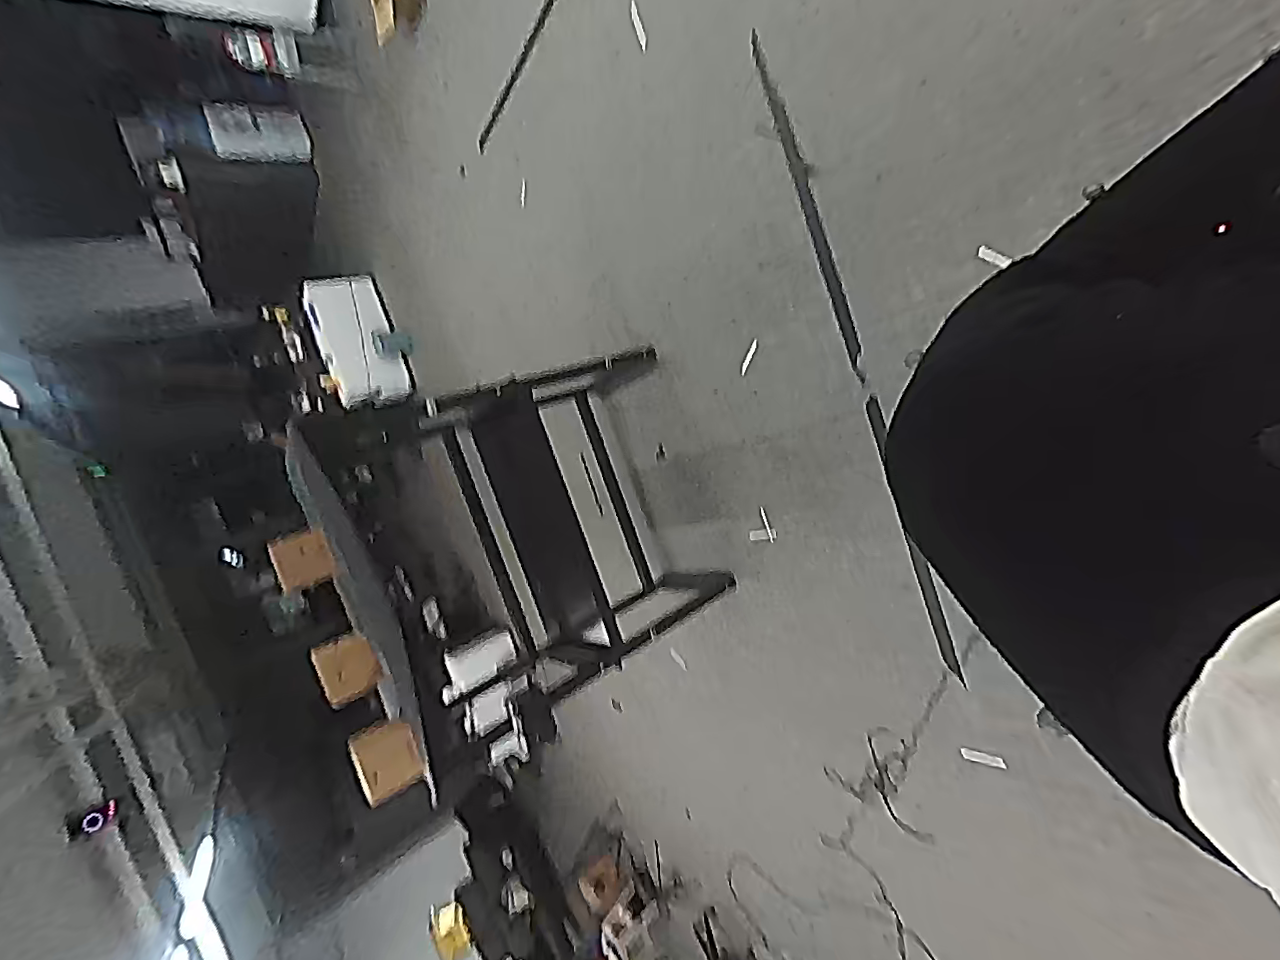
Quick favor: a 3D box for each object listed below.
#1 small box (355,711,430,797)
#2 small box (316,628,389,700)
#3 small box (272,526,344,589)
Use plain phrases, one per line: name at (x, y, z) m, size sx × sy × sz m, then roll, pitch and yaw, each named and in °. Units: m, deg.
small box at (-0.796, 0.872, 1.742) m, size 0.179 × 0.176 × 0.168 m, roll -18°, pitch 93°, yaw 56°
small box at (-1.018, 0.644, 1.916) m, size 0.168 × 0.176 × 0.179 m, roll -12°, pitch 99°, yaw 55°
small box at (-1.155, 0.268, 1.885) m, size 0.179 × 0.176 × 0.168 m, roll -17°, pitch 94°, yaw 55°
